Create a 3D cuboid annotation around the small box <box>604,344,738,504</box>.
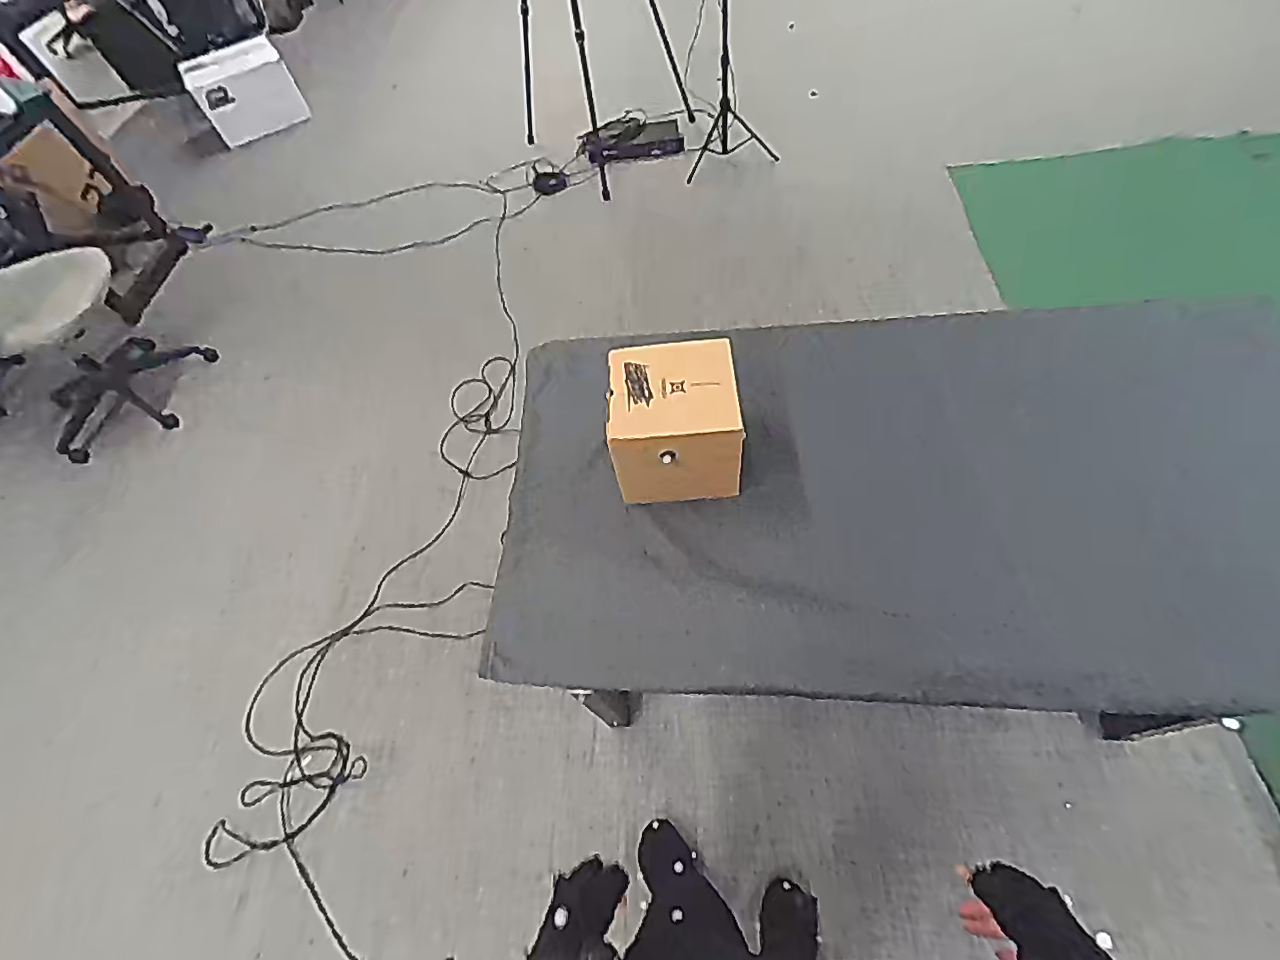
[{"bbox_3d":[0.049,-0.075,0.798,0.179,0.176,0.168,-4,57,5],"label":"small box"}]
